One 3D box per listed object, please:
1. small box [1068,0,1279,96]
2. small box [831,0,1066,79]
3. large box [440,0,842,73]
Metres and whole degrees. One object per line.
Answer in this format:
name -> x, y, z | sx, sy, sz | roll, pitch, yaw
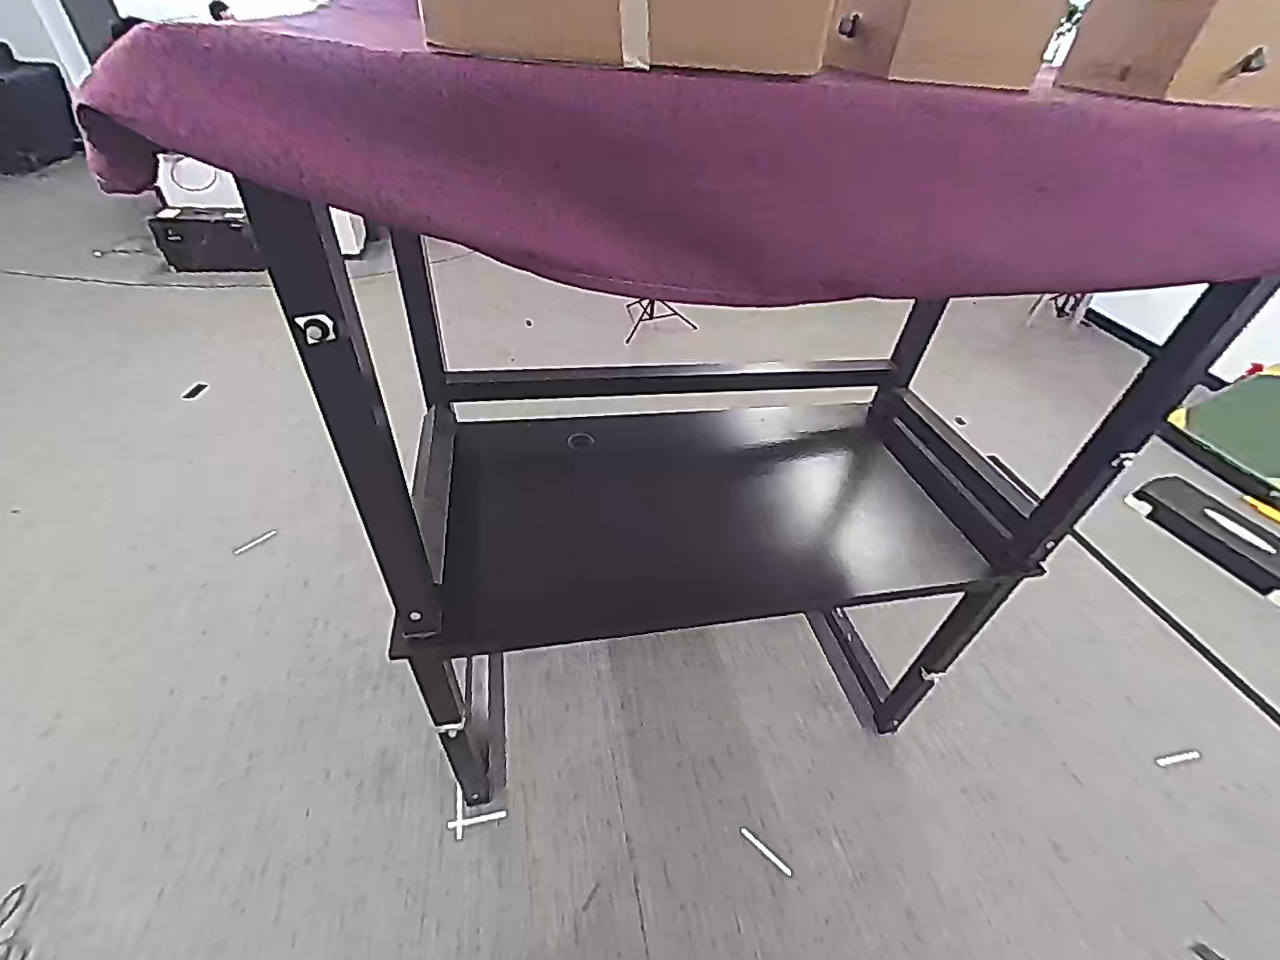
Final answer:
small box -> 0.645, -0.540, 0.603 | 0.179, 0.176, 0.168 | -3, 41, -9
small box -> 0.331, -0.533, 0.567 | 0.179, 0.176, 0.168 | -3, 41, -9
large box -> -0.025, -0.560, 0.459 | 0.320, 0.320, 0.408 | -4, 41, -12
